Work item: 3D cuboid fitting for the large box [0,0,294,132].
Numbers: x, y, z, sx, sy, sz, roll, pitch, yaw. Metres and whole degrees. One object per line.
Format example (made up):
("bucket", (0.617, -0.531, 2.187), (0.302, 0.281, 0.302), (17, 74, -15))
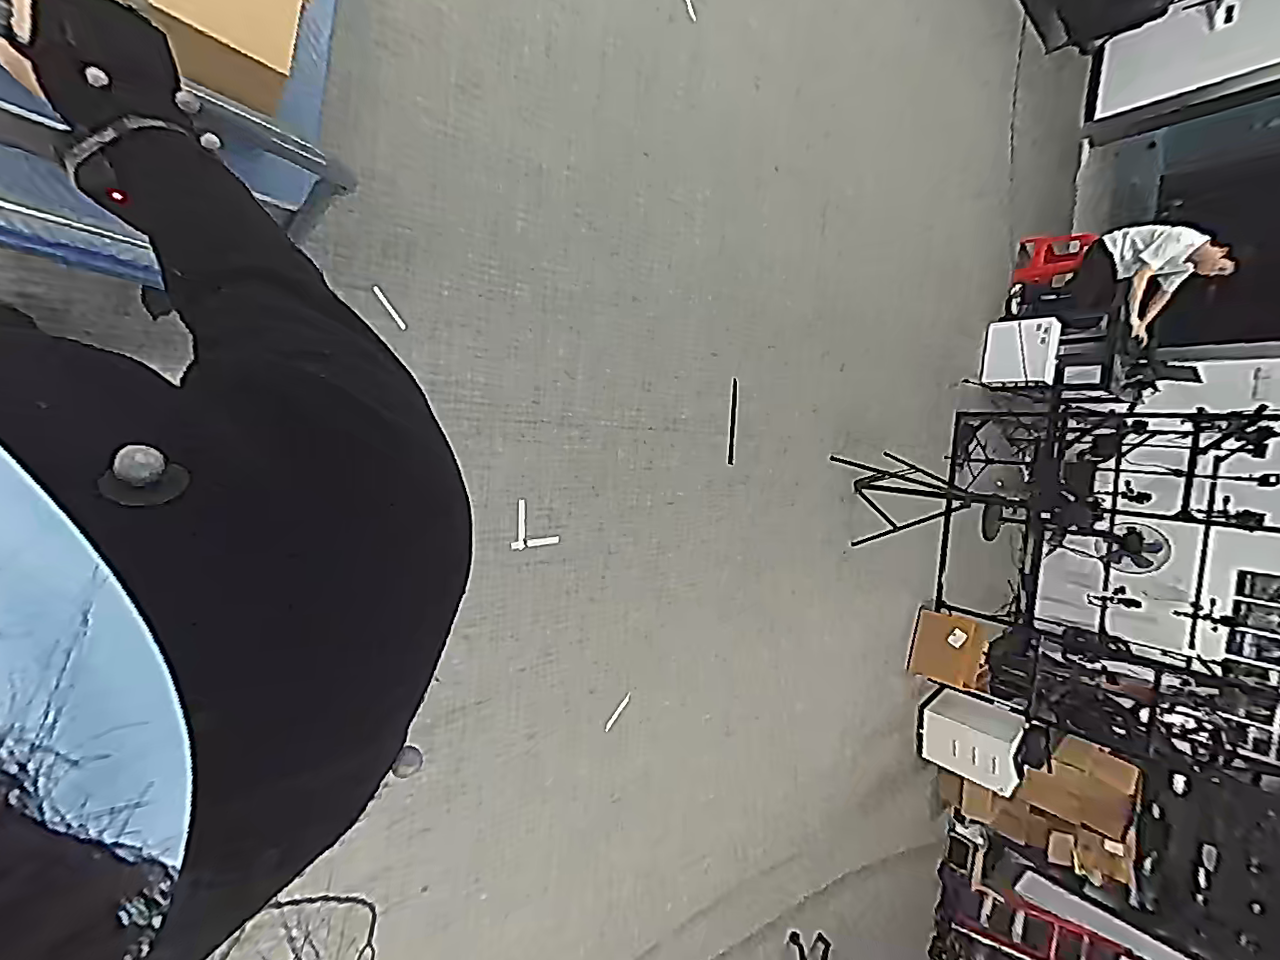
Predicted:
("large box", (-0.767, -0.823, 0.813), (0.408, 0.320, 0.320), (9, 90, -41))
